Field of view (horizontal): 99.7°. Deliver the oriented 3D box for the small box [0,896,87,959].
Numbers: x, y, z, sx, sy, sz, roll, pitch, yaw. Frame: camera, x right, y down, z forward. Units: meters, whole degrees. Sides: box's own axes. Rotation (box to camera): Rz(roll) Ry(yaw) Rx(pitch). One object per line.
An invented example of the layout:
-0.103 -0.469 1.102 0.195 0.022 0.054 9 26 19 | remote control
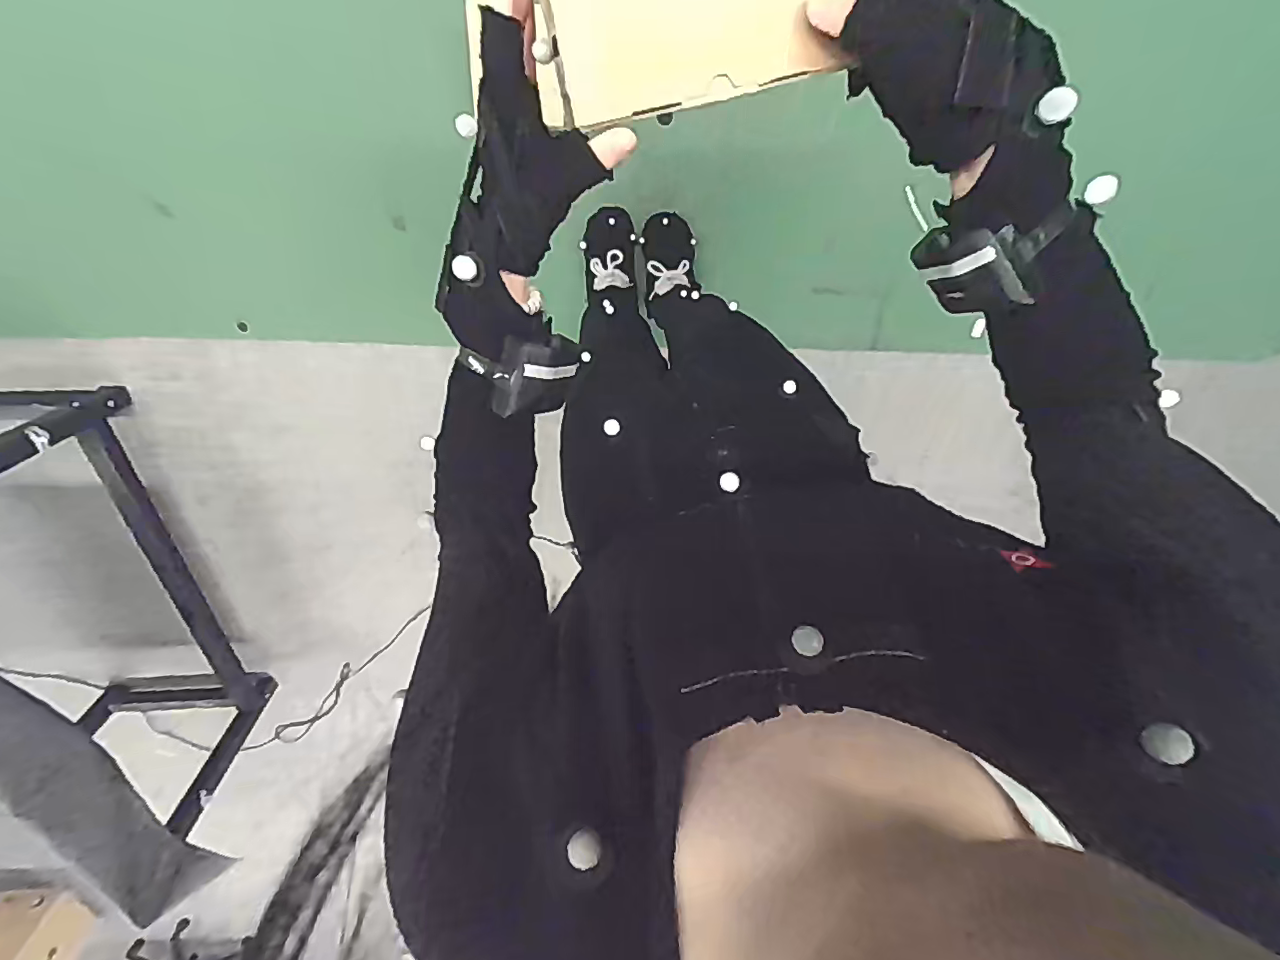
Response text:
-1.404 1.047 1.190 0.168 0.176 0.179 -1 121 -3 | small box
